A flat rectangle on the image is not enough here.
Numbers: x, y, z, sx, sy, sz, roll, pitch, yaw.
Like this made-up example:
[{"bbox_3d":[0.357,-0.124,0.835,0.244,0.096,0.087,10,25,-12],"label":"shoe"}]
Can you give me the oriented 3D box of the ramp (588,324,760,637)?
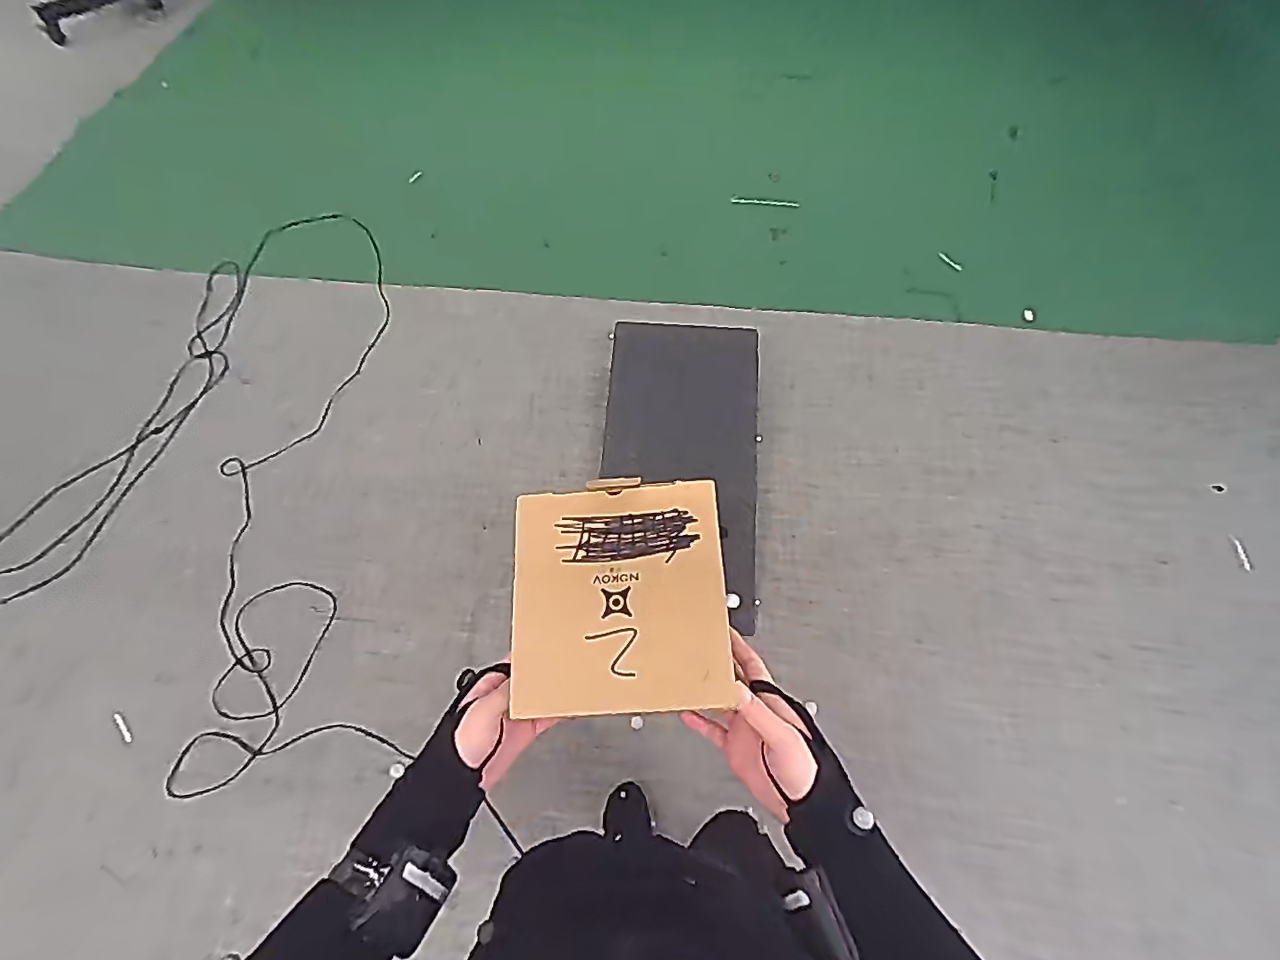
[{"bbox_3d":[0.129,-0.042,1.690,0.509,0.206,0.991,3,62,1],"label":"ramp"}]
